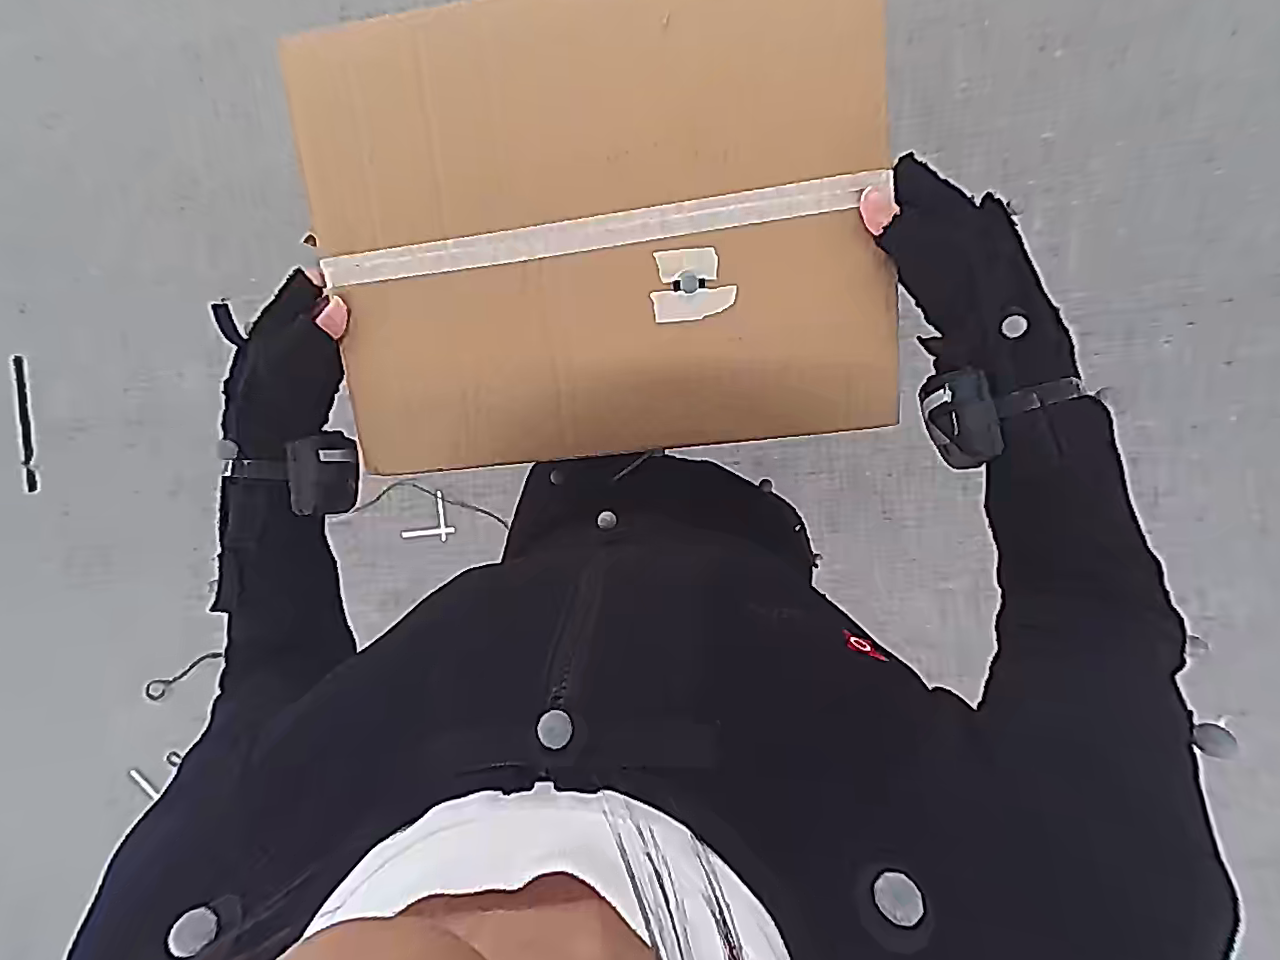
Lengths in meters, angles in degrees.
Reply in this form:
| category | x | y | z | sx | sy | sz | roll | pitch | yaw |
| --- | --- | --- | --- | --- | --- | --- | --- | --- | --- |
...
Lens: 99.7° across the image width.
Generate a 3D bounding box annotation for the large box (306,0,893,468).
| category | x | y | z | sx | sy | sz | roll | pitch | yaw |
| --- | --- | --- | --- | --- | --- | --- | --- | --- | --- |
| large box | -0.017 | -0.207 | 0.539 | 0.408 | 0.320 | 0.320 | -6 | 100 | 7 |
